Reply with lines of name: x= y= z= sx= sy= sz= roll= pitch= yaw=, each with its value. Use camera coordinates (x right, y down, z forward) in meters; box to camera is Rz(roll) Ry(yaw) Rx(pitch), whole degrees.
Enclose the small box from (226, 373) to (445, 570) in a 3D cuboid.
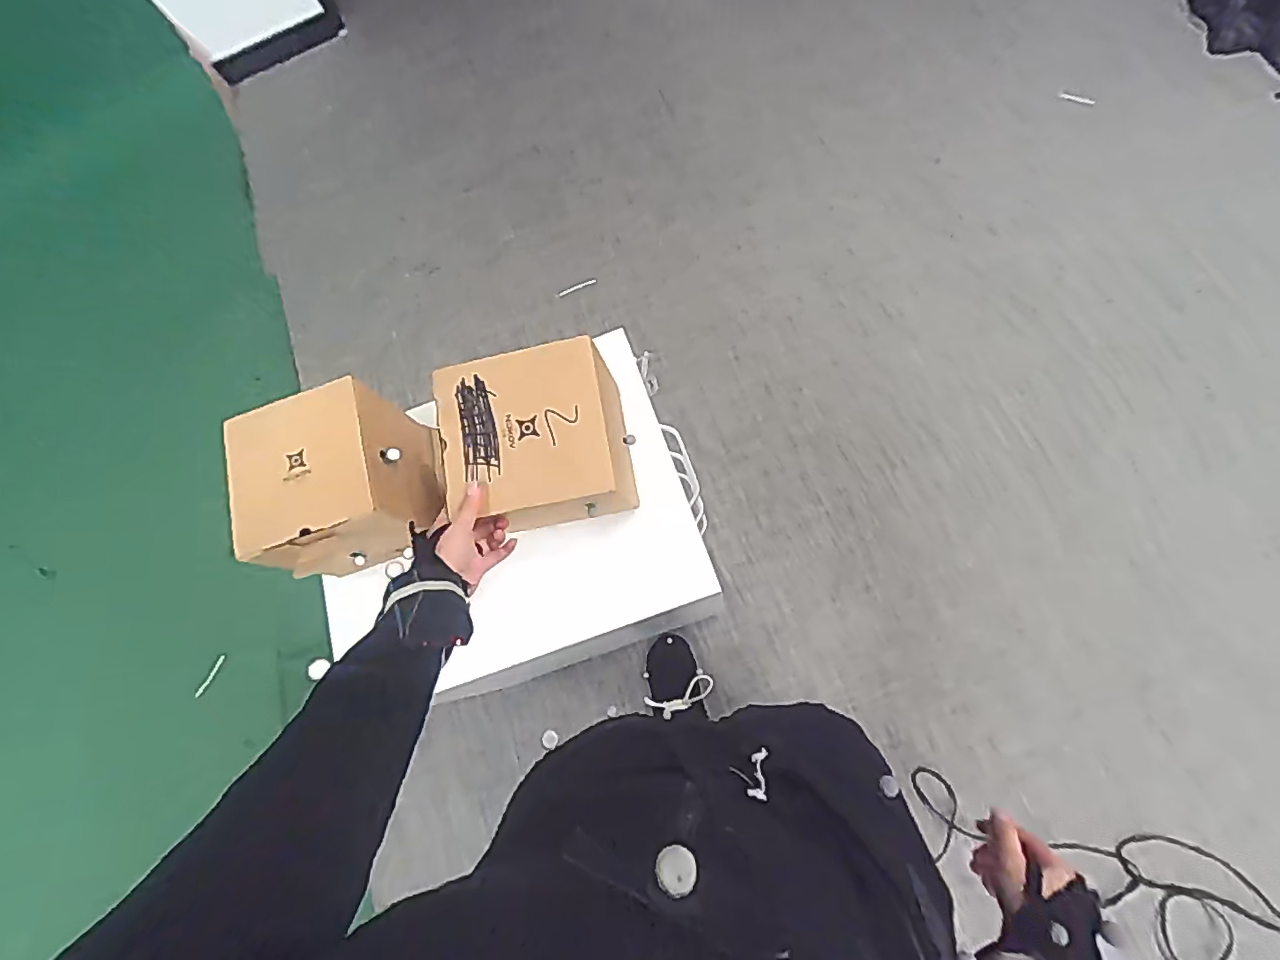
small box: x=-0.370 y=0.000 z=0.678 sx=0.168 sy=0.176 sz=0.179 roll=-19 pitch=73 yaw=2
